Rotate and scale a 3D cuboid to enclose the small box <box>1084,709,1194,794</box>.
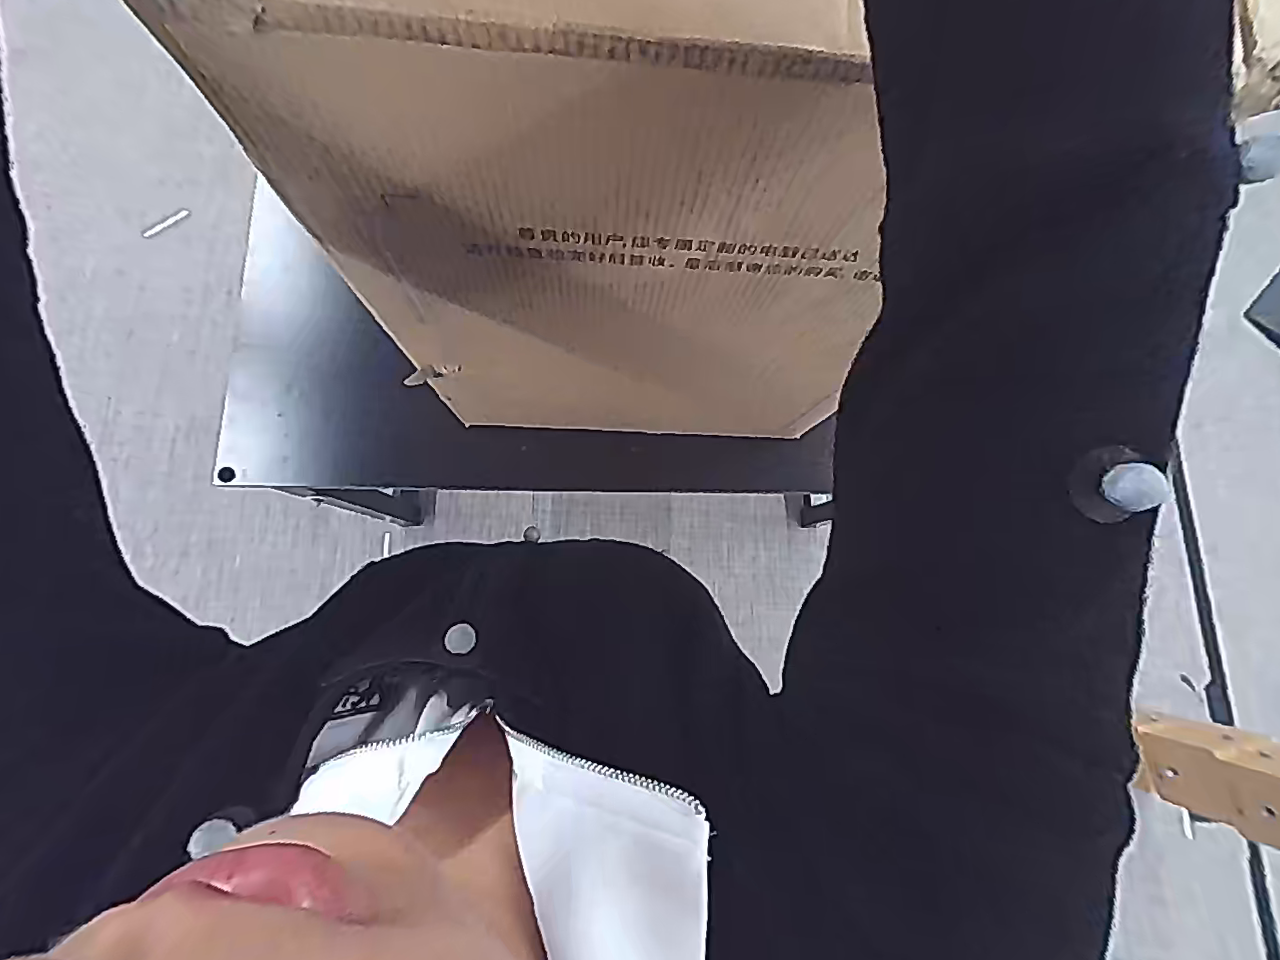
[{"bbox_3d":[1.370,0.730,1.470,0.179,0.176,0.168,-2,79,-4],"label":"small box"}]

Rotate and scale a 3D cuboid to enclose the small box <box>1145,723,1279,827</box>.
[{"bbox_3d":[1.397,0.702,1.309,0.179,0.176,0.168,-7,79,-7],"label":"small box"}]

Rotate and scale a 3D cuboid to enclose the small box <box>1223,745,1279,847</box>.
[{"bbox_3d":[1.409,0.682,1.146,0.179,0.176,0.168,-9,79,-7],"label":"small box"}]
